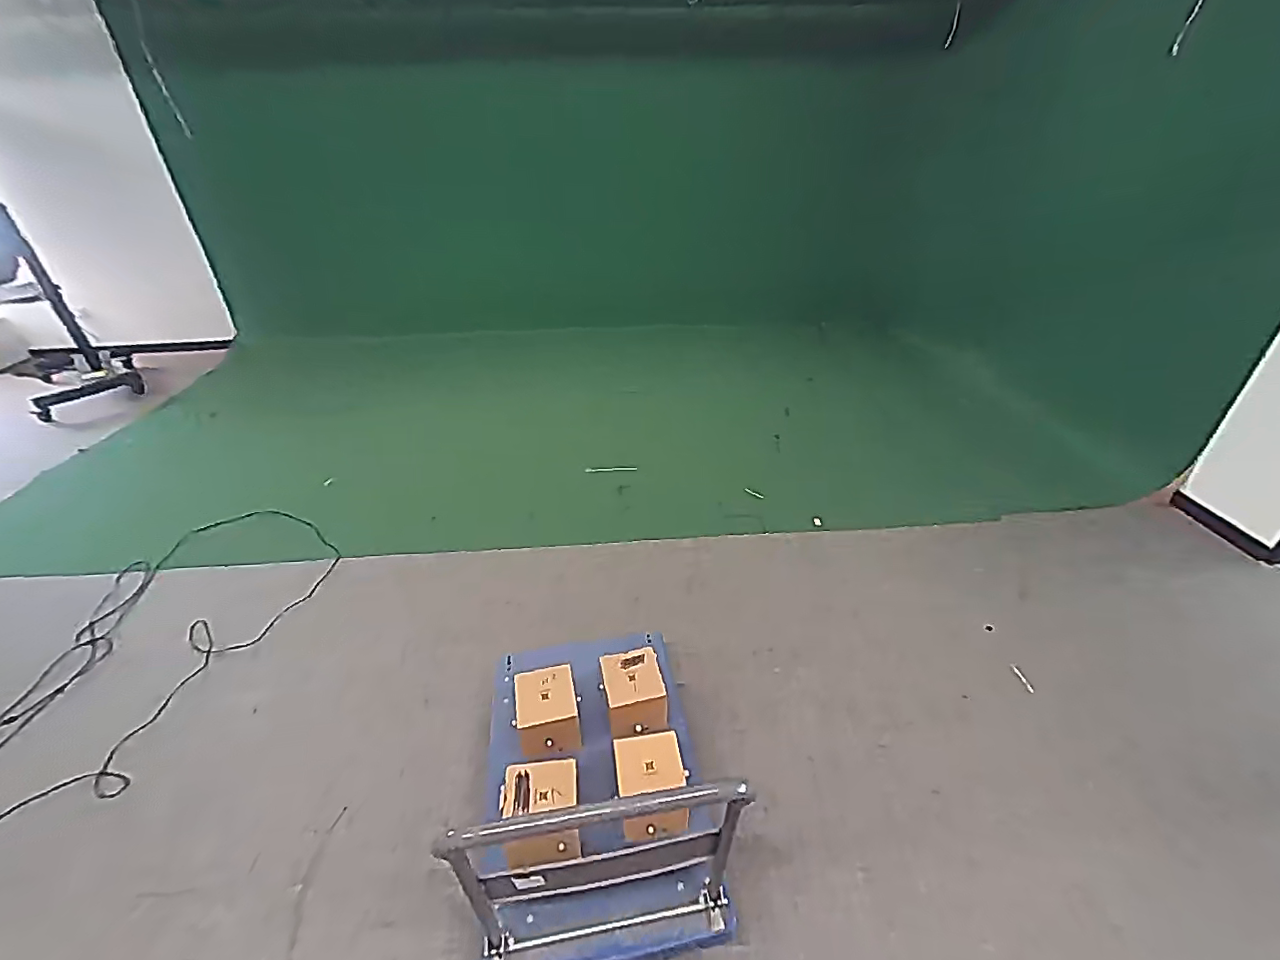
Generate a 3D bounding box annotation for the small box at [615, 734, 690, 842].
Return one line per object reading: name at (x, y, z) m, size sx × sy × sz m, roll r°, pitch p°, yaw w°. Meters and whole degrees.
small box at (0.026, 0.787, 1.385) m, size 0.168 × 0.176 × 0.179 m, roll -5°, pitch 35°, yaw -7°

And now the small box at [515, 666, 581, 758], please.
small box at (-0.264, 0.674, 1.558) m, size 0.168 × 0.176 × 0.179 m, roll -8°, pitch 35°, yaw -11°

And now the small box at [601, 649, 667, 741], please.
small box at (-0.020, 0.637, 1.605) m, size 0.168 × 0.176 × 0.179 m, roll -9°, pitch 36°, yaw -10°
